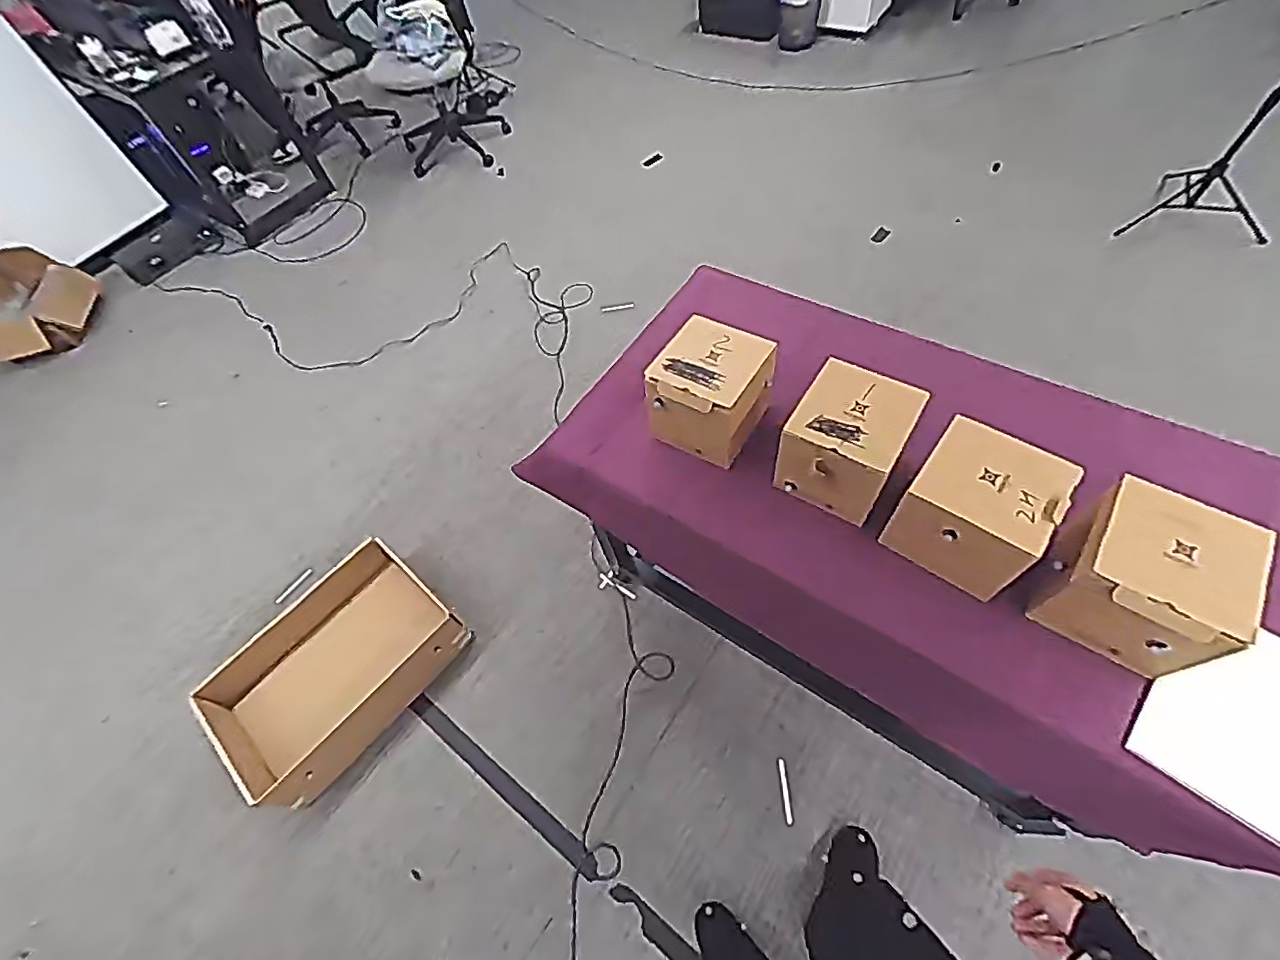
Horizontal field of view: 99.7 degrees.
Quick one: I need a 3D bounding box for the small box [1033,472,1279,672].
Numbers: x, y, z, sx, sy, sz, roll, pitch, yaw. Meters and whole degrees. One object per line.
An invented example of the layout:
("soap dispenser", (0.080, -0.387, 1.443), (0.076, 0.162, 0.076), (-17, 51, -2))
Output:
("small box", (0.673, 0.128, 0.726), (0.168, 0.176, 0.179), (30, 66, 23))
